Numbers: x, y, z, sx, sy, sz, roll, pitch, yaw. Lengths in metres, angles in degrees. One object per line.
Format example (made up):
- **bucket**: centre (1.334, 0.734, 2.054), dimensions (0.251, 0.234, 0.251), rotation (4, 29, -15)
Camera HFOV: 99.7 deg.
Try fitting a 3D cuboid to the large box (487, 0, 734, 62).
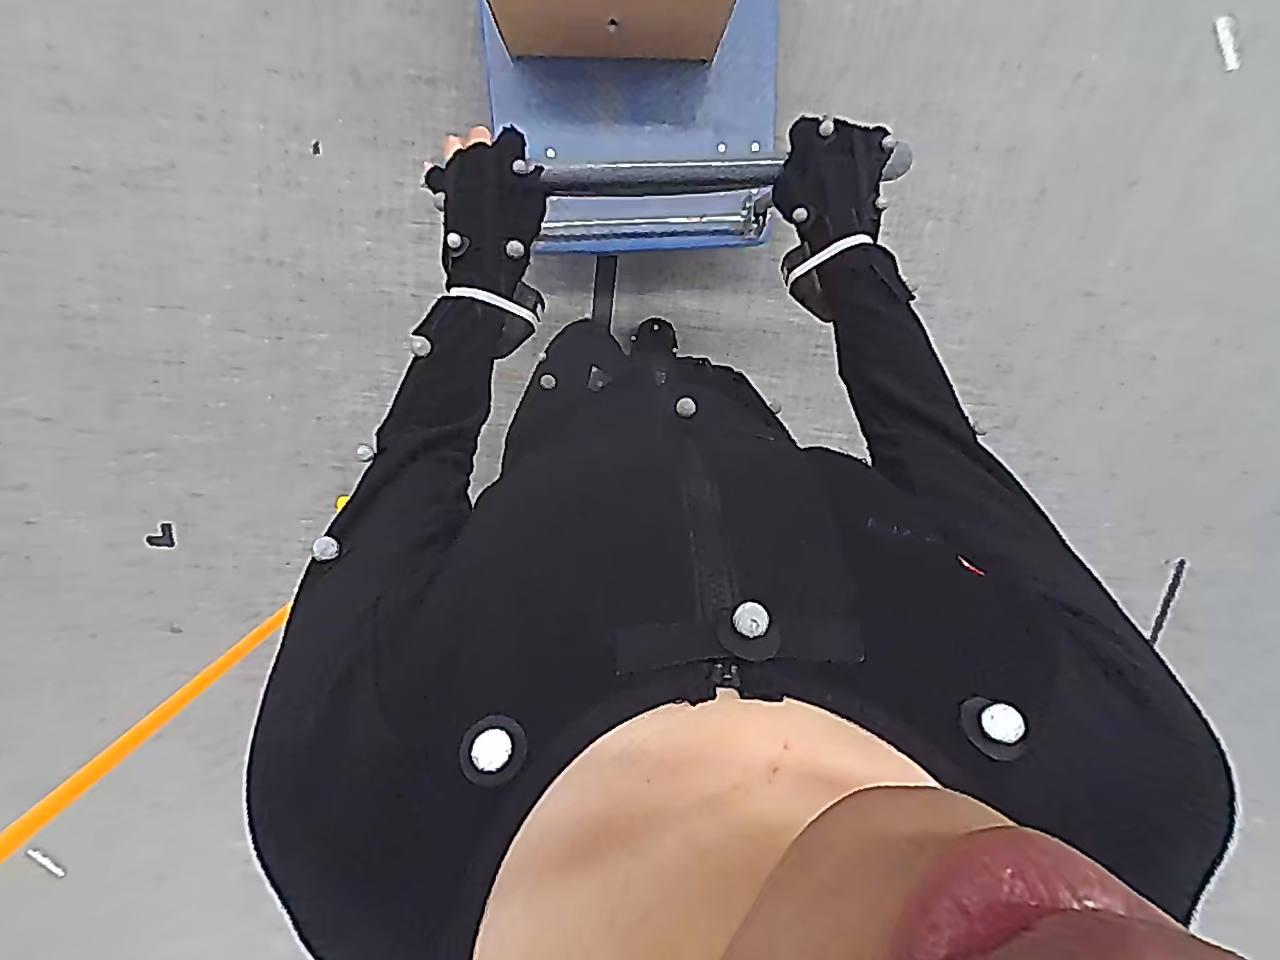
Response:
- **large box**: centre (-0.051, -0.934, 0.892), dimensions (0.408, 0.320, 0.320), rotation (-1, 107, -2)
